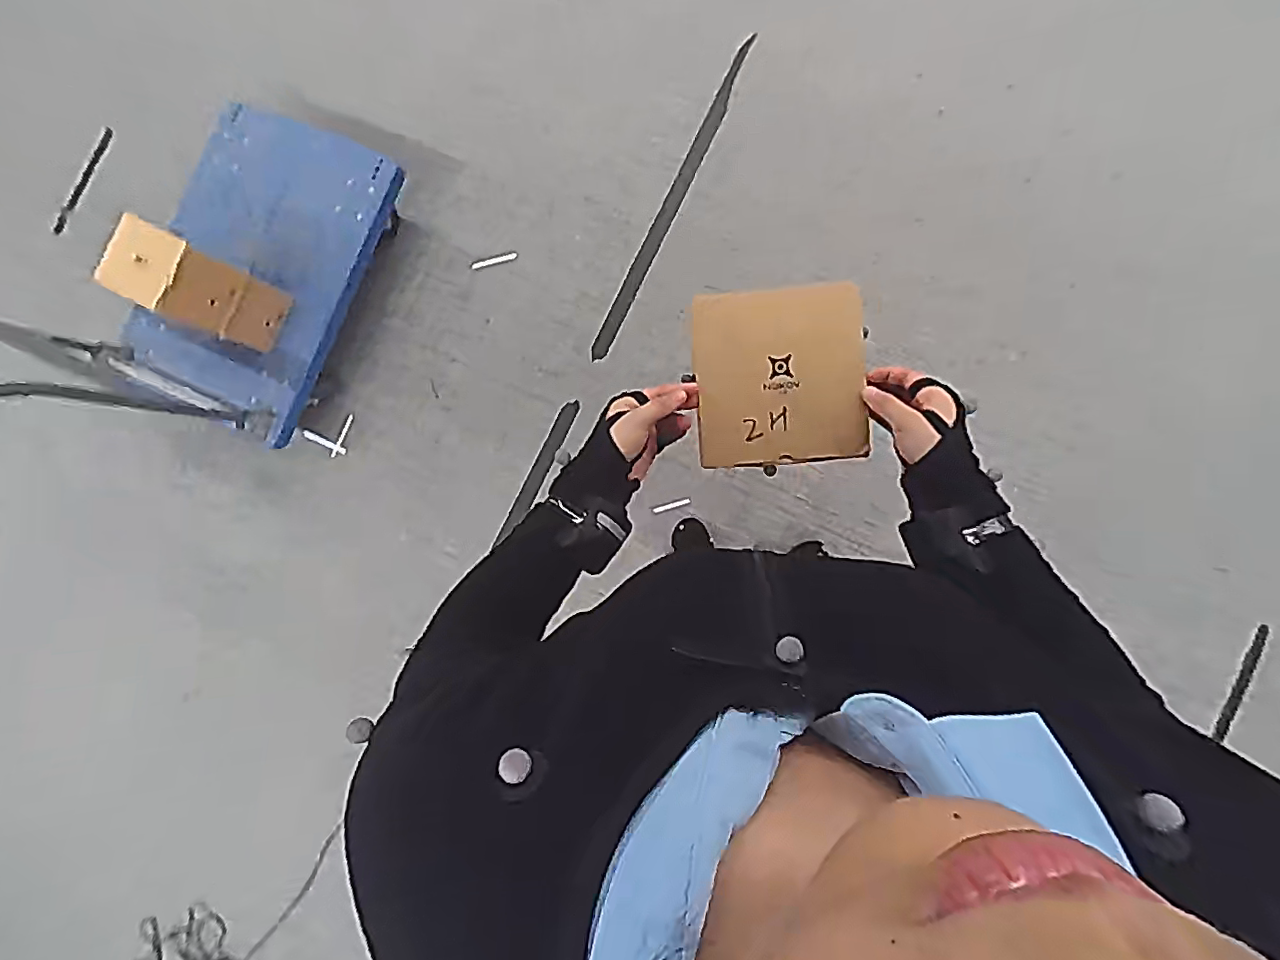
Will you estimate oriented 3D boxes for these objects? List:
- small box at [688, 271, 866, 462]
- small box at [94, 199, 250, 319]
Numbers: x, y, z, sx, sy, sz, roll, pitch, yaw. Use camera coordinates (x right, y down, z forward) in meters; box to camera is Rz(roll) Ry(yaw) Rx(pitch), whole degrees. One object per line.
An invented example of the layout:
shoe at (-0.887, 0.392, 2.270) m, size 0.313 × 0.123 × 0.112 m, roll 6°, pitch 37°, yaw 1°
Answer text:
small box at (0.140, -0.113, 0.608) m, size 0.168 × 0.176 × 0.179 m, roll -4°, pitch 92°, yaw 7°
small box at (-1.054, -0.492, 1.232) m, size 0.179 × 0.176 × 0.168 m, roll 27°, pitch 90°, yaw 6°
